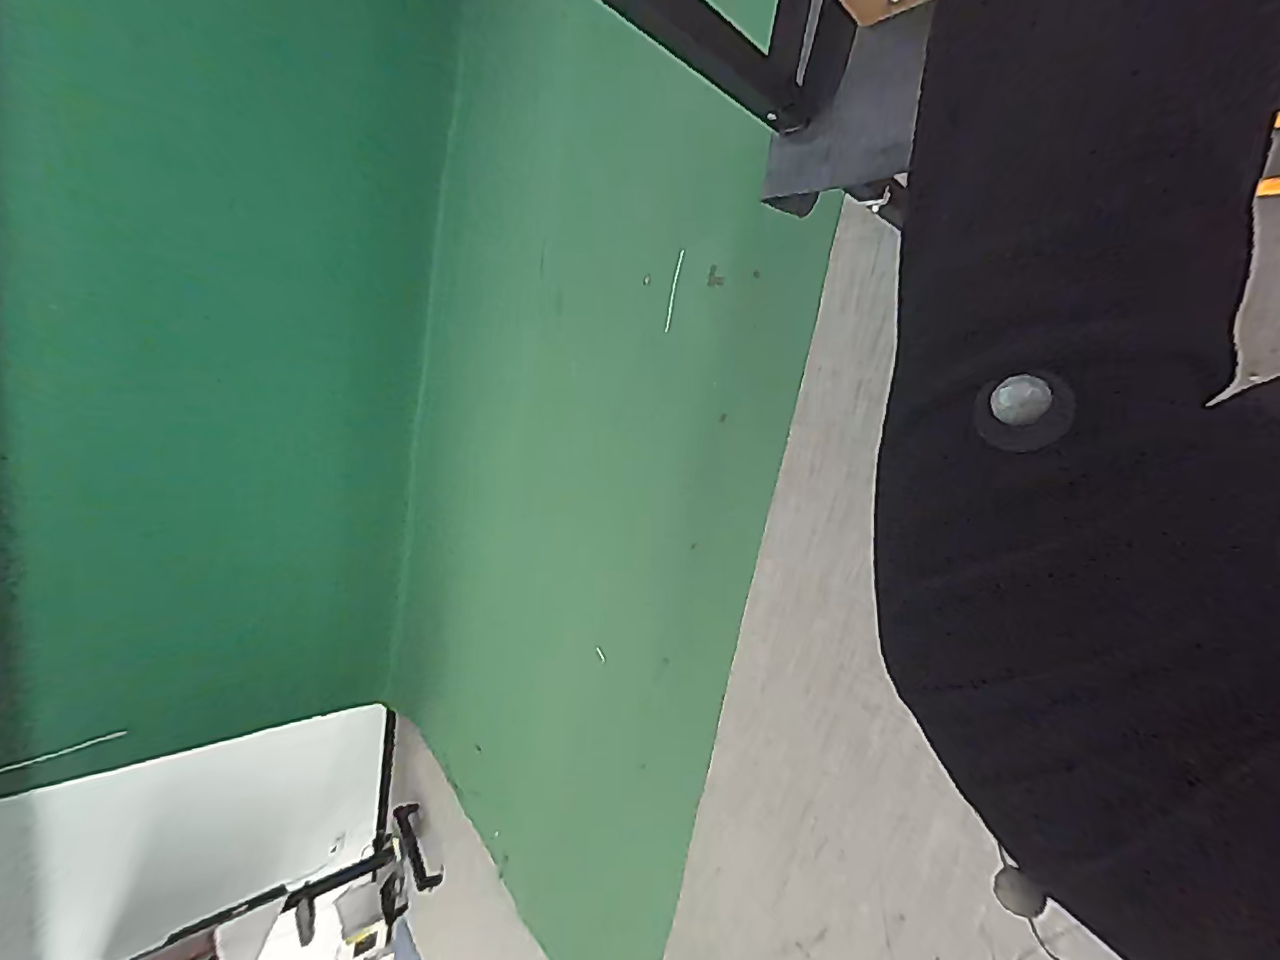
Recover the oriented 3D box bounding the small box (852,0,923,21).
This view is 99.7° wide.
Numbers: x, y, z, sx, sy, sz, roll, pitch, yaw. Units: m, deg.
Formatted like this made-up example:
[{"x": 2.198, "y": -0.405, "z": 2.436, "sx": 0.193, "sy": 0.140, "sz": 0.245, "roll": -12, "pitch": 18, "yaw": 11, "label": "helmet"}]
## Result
[{"x": 0.343, "y": -0.755, "z": 0.691, "sx": 0.168, "sy": 0.176, "sz": 0.179, "roll": 18, "pitch": 104, "yaw": 47, "label": "small box"}]
